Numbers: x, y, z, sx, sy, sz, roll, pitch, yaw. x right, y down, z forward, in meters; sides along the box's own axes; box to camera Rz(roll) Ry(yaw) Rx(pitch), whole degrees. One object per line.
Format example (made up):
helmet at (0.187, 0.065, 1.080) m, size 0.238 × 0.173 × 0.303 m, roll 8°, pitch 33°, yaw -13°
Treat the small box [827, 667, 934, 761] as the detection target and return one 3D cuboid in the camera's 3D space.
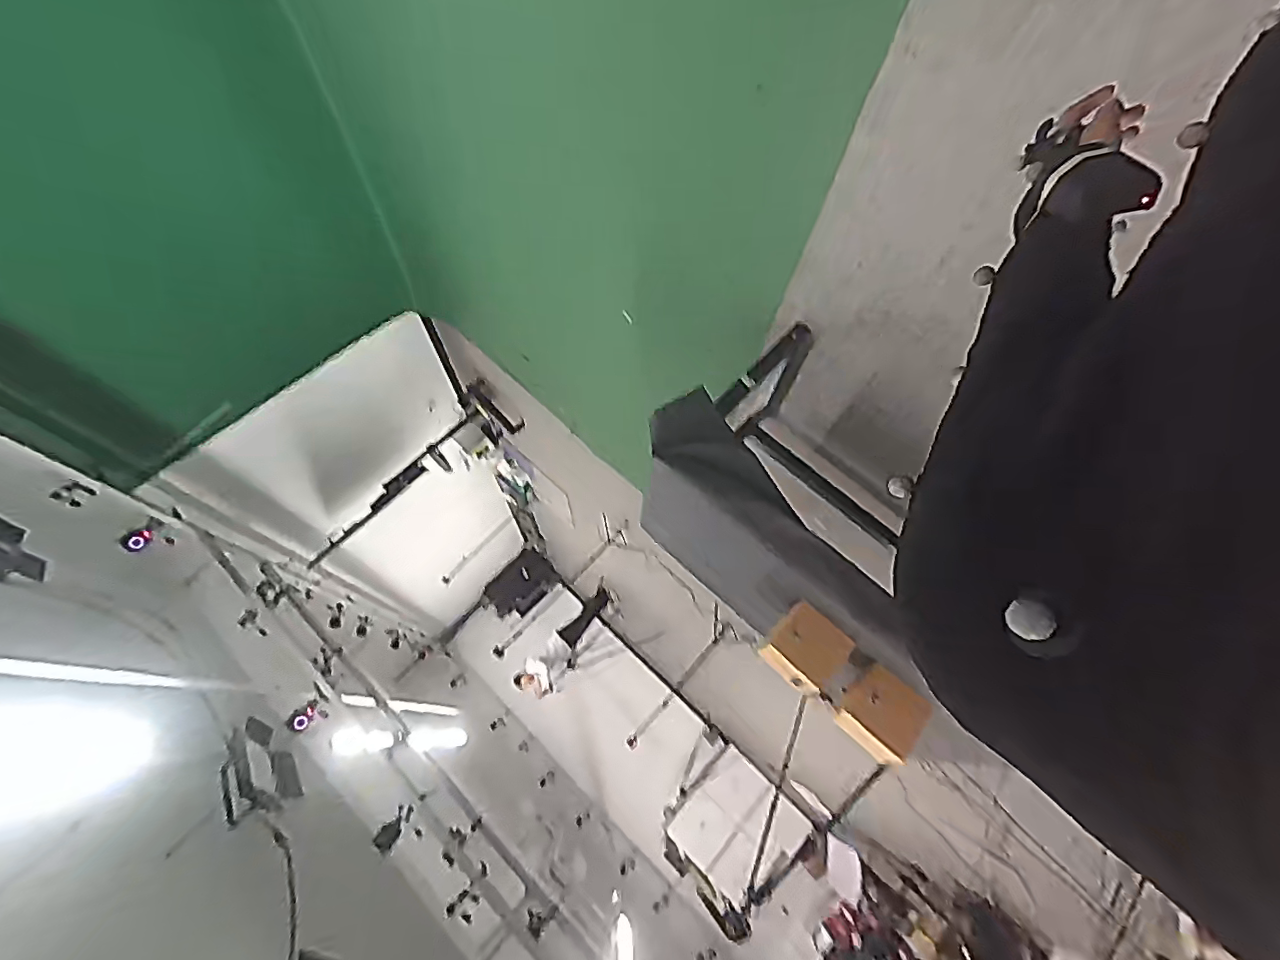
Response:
small box at (0.645, 0.625, 1.459) m, size 0.179 × 0.176 × 0.168 m, roll 39°, pitch 160°, yaw 18°
